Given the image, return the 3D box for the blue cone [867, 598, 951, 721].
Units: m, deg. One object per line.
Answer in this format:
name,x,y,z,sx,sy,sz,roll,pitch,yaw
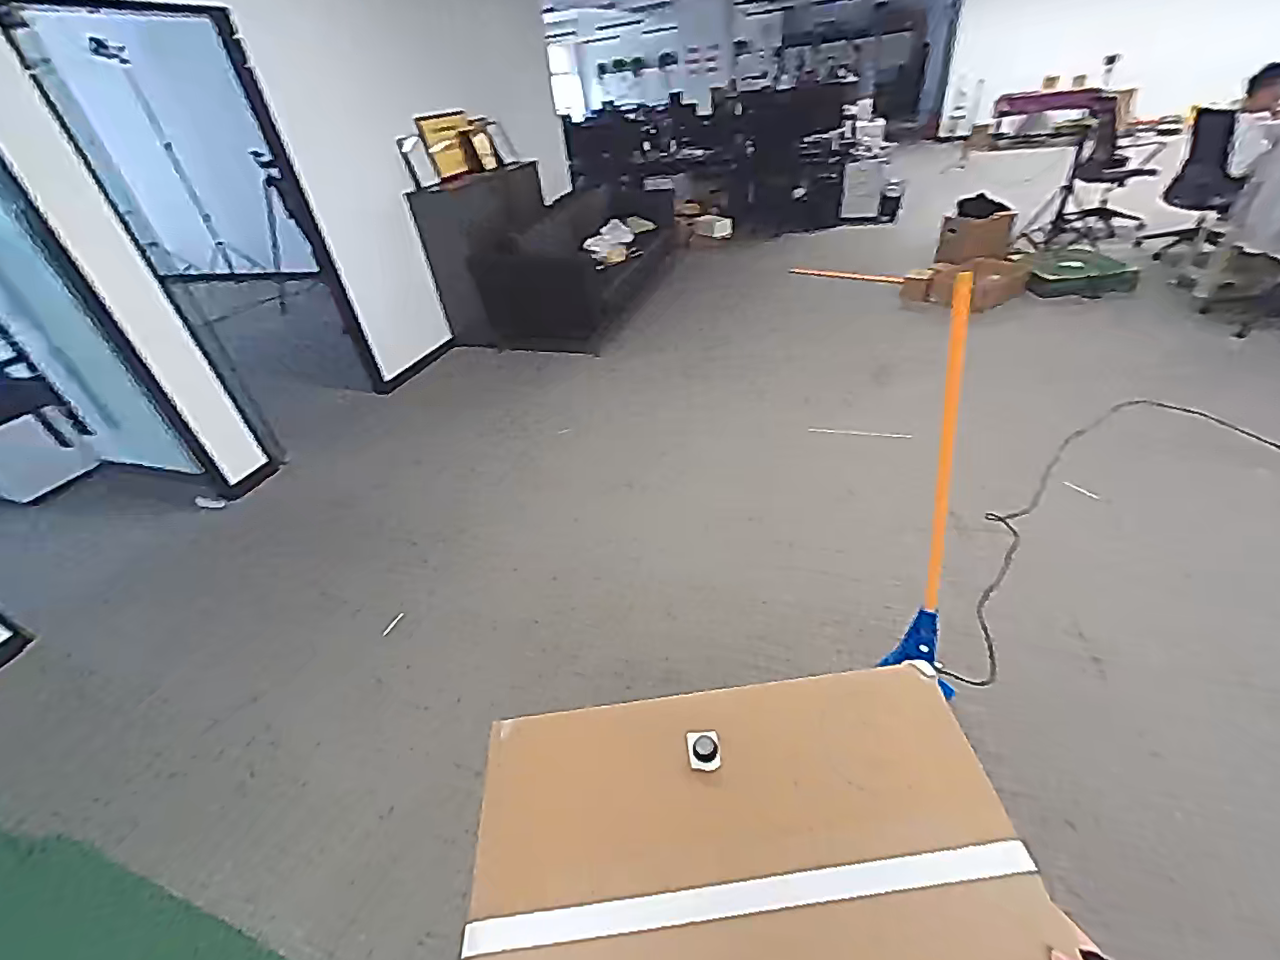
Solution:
blue cone,0.776,0.472,1.505,0.193,0.380,0.192,-30,40,-26
